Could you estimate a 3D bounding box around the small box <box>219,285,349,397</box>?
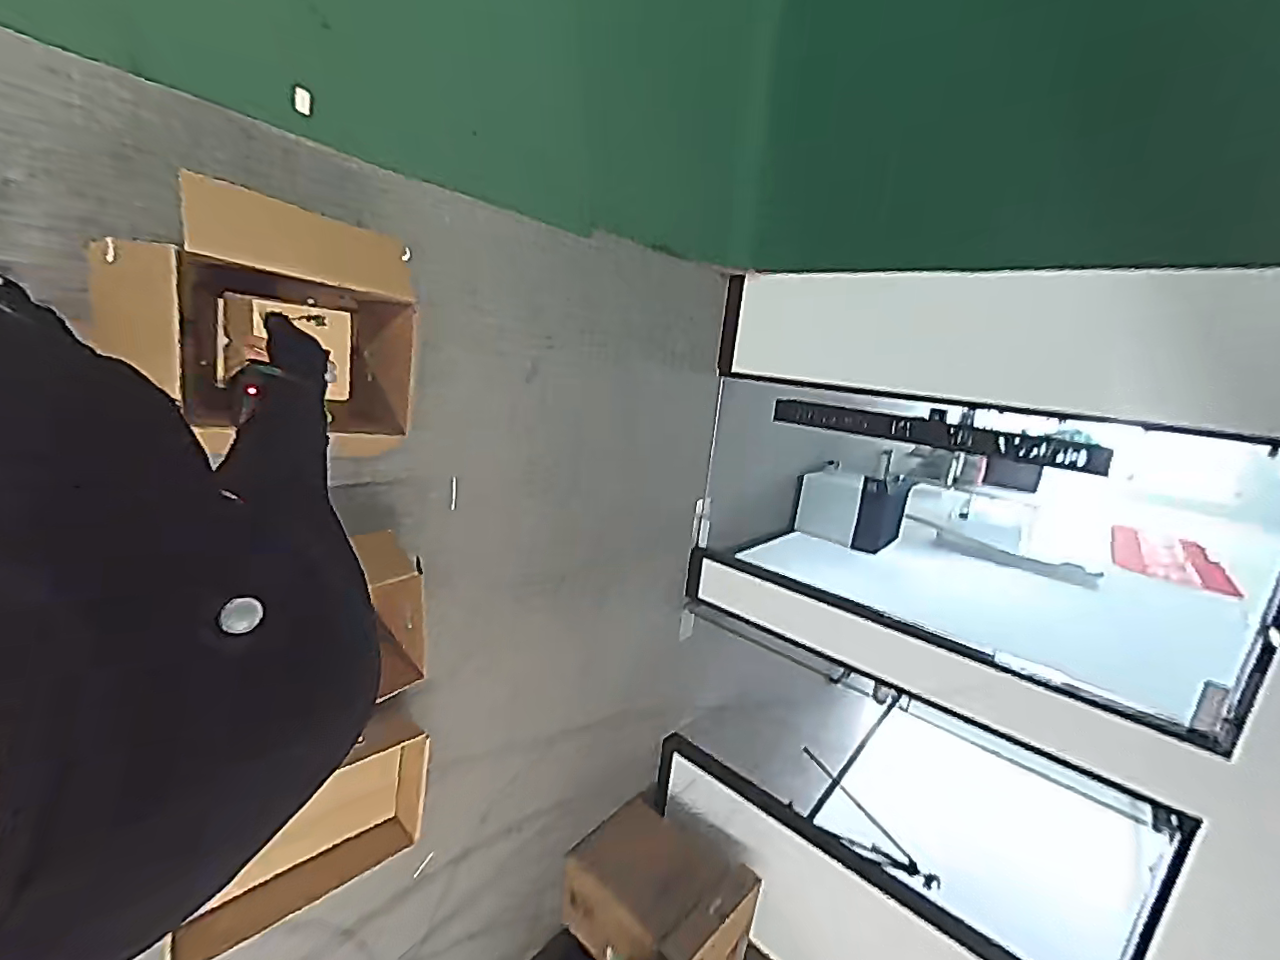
[{"bbox_3d":[-0.695,-0.269,1.055,0.168,0.176,0.179,-7,113,-52],"label":"small box"}]
